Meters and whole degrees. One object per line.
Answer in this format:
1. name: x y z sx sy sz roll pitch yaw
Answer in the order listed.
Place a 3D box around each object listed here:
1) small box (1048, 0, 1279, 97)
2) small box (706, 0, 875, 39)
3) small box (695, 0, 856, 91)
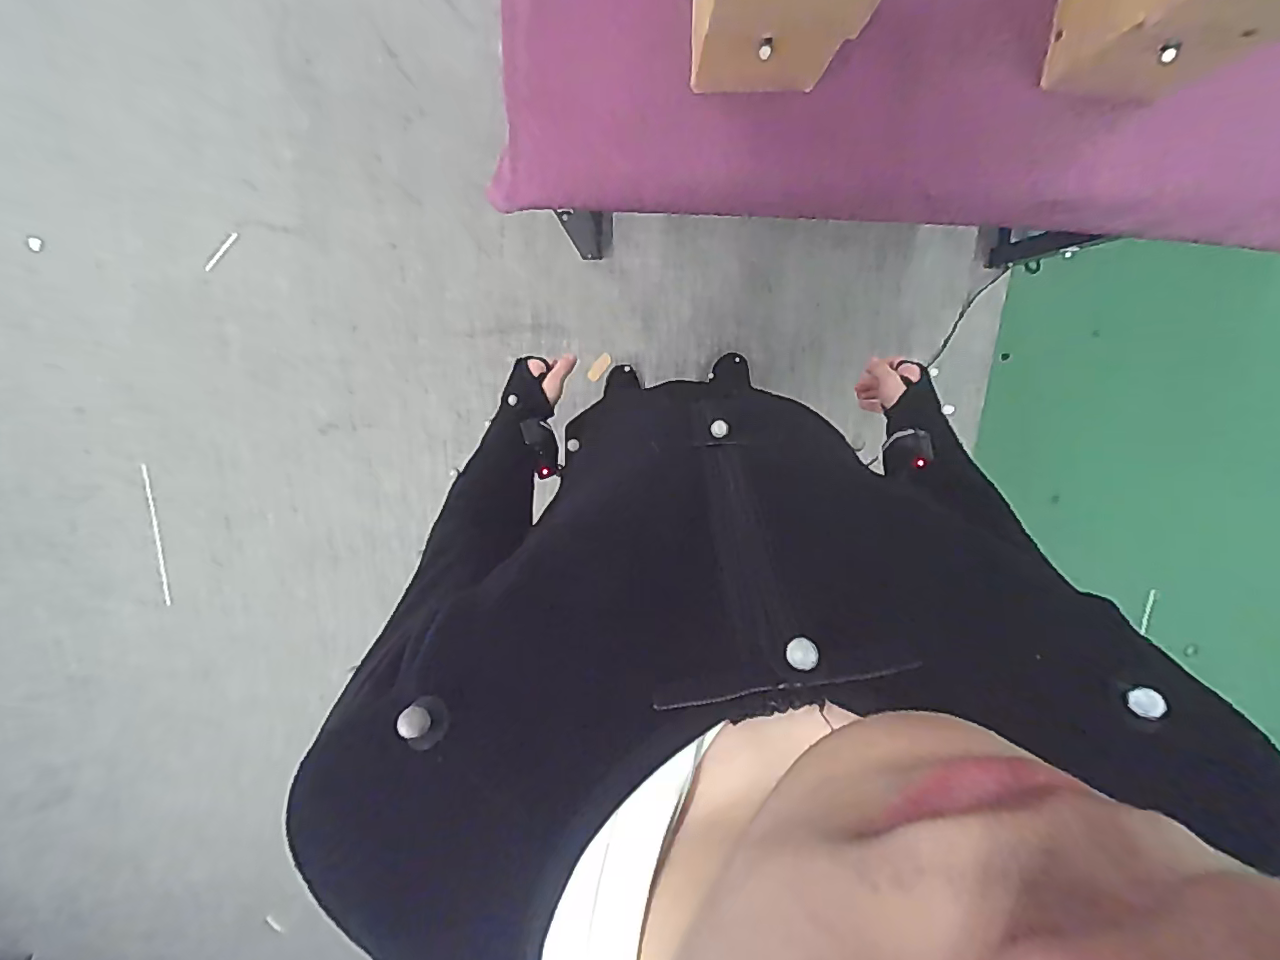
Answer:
1. small box: 0.664 -0.610 0.674 0.179 0.176 0.168 5 103 0
2. small box: 0.165 -0.571 0.528 0.179 0.176 0.168 2 103 1
3. small box: 0.166 -0.623 0.685 0.179 0.176 0.168 1 103 2
